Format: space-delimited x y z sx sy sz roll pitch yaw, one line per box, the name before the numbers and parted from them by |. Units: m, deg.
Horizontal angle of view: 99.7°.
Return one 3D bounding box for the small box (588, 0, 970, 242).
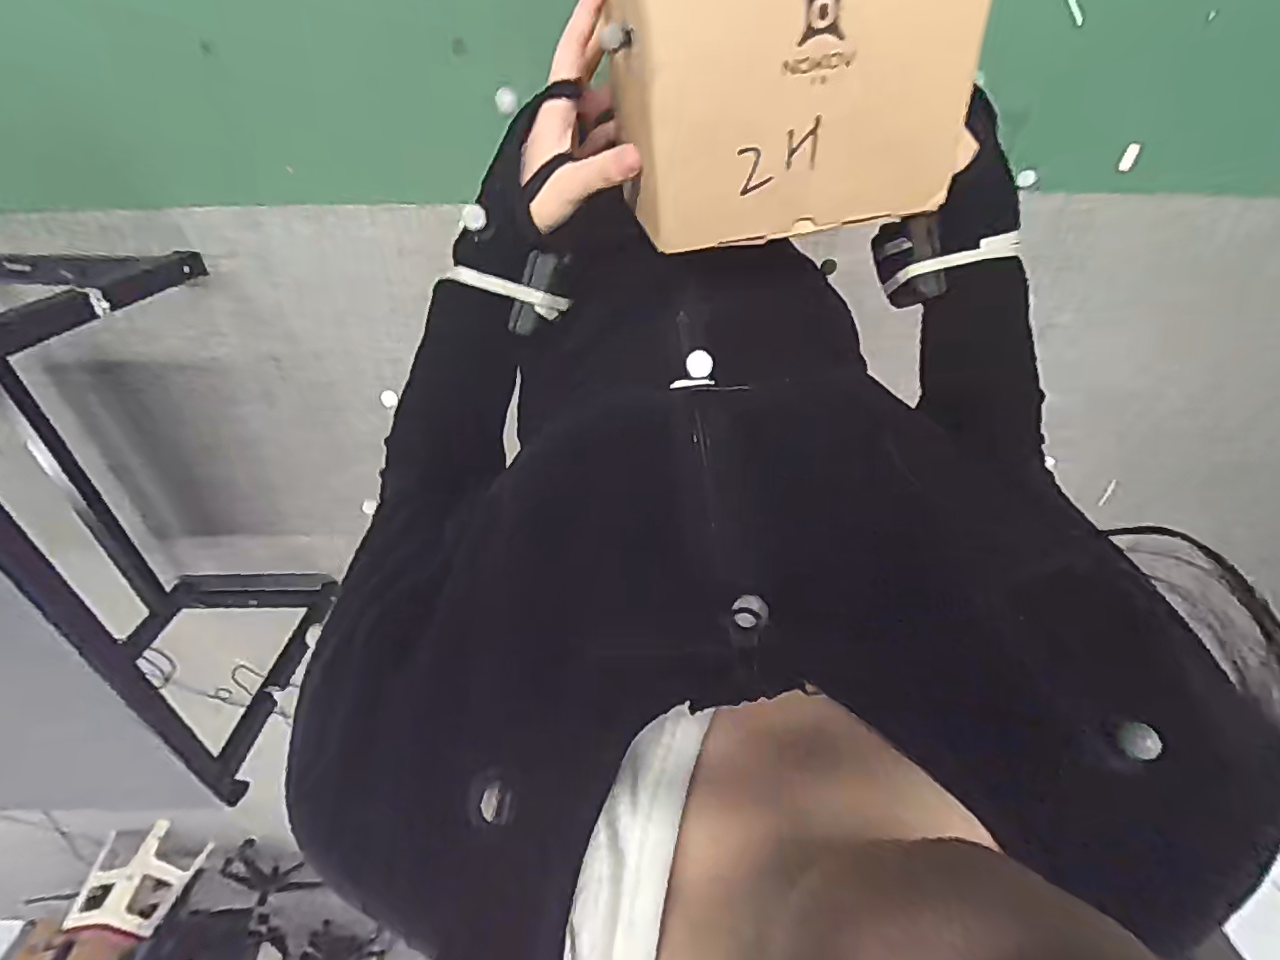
small box | 0.061 -0.257 0.312 0.168 0.176 0.179 -11 127 -2
